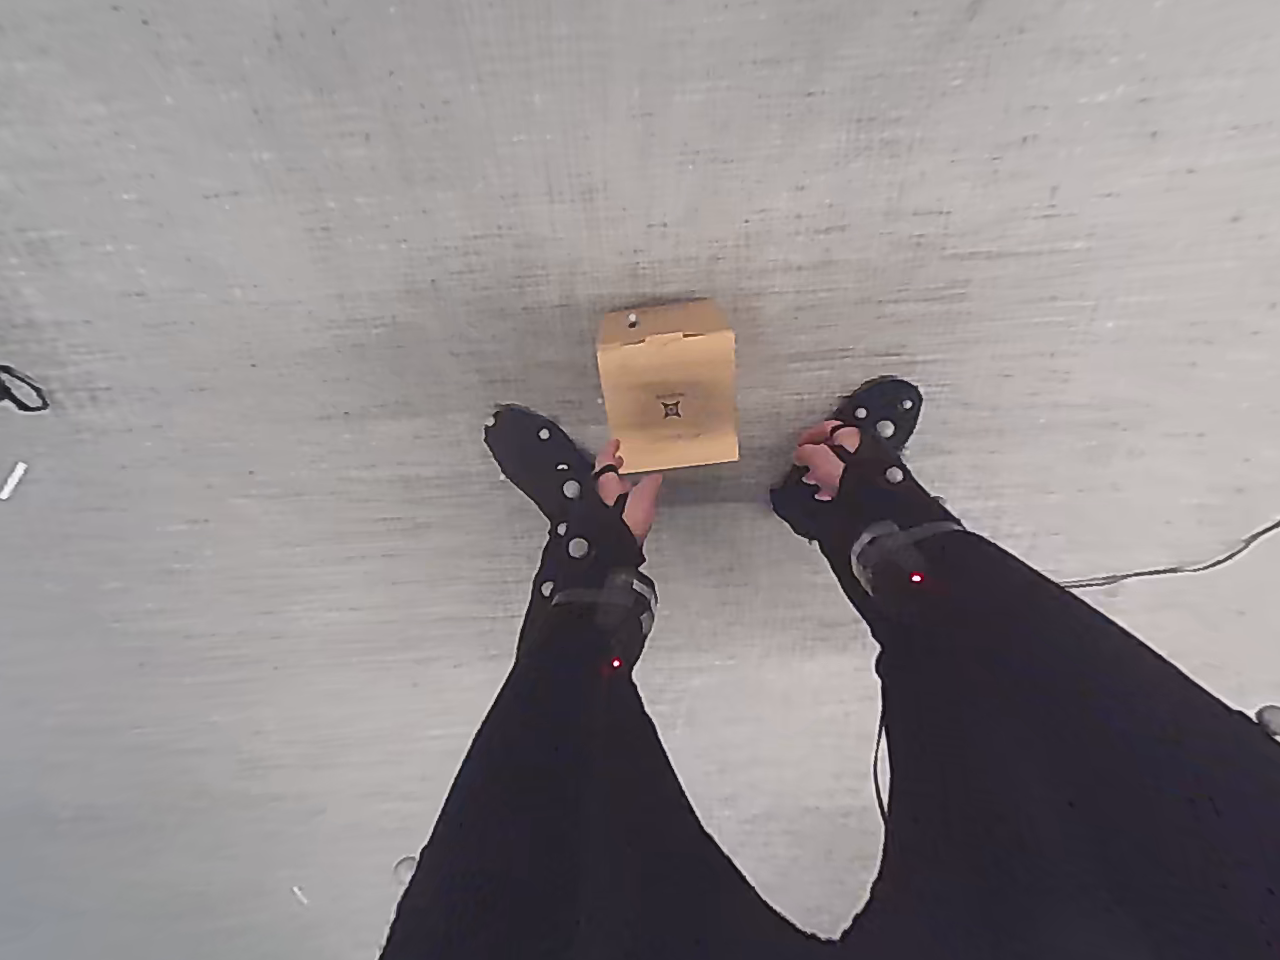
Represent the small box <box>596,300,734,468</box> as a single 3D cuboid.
[{"bbox_3d":[0.034,-0.138,0.737,0.168,0.176,0.179,-5,123,4],"label":"small box"}]
